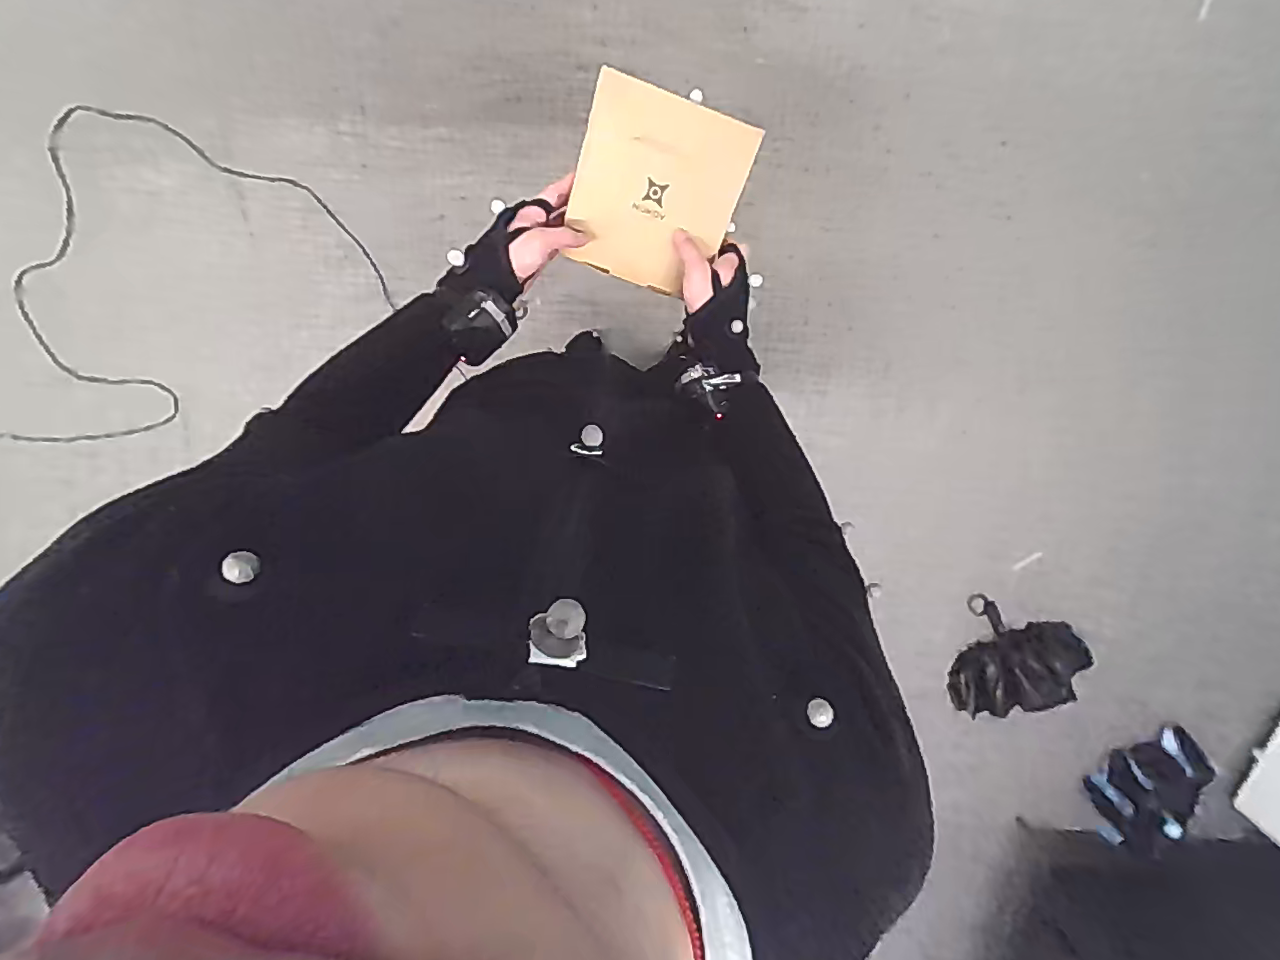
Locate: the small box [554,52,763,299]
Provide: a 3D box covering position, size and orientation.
[{"bbox_3d":[0.016,-0.329,0.601,0.168,0.176,0.179,17,121,-8],"label":"small box"}]
